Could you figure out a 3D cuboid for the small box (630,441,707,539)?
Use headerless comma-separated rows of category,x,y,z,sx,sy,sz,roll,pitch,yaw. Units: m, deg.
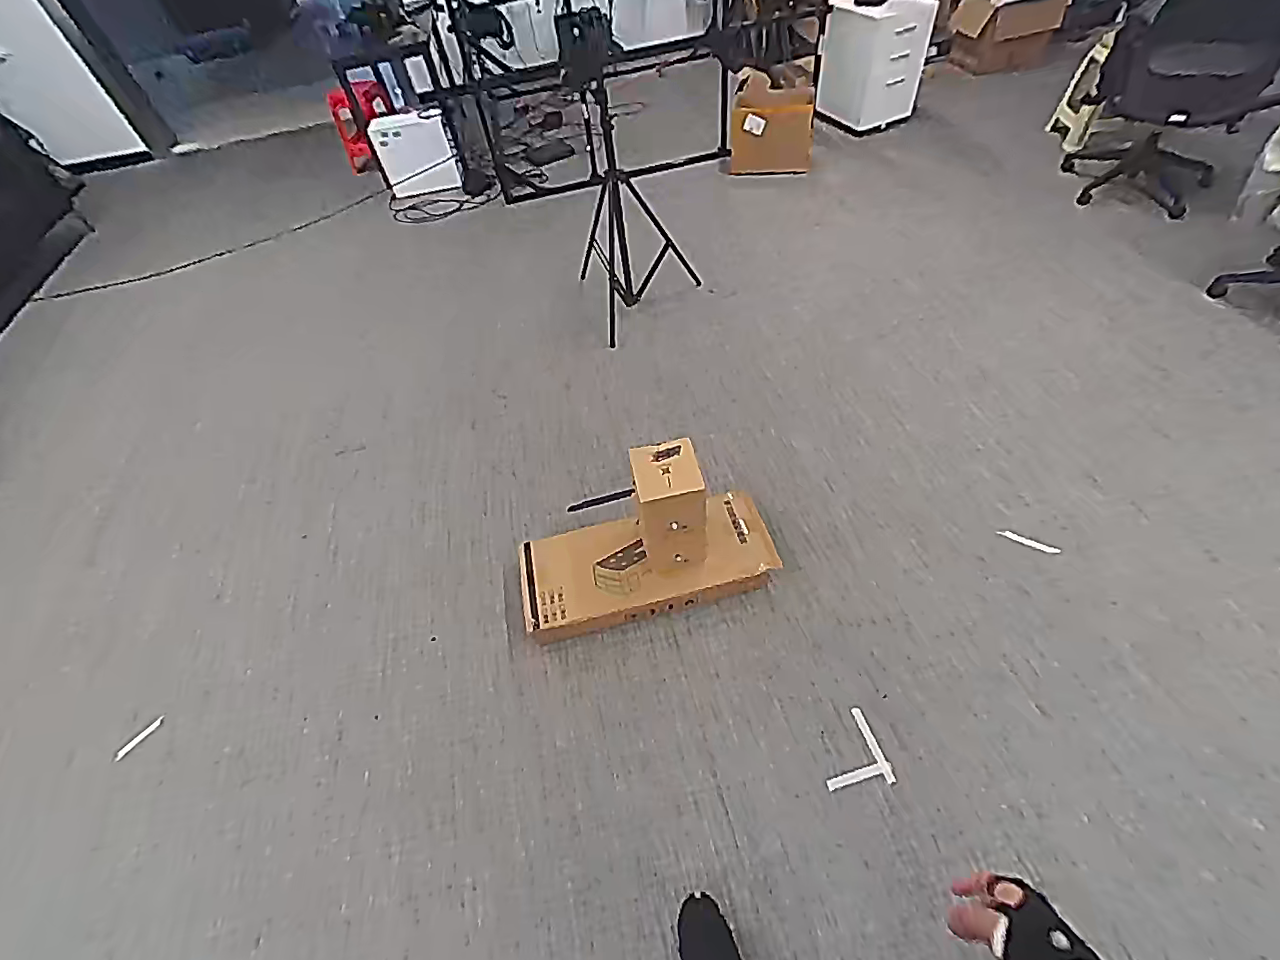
small box,0.075,0.027,1.419,0.168,0.176,0.179,-12,51,-1

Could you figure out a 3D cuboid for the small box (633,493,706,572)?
small box,0.084,0.133,1.544,0.168,0.176,0.179,-15,51,-4
